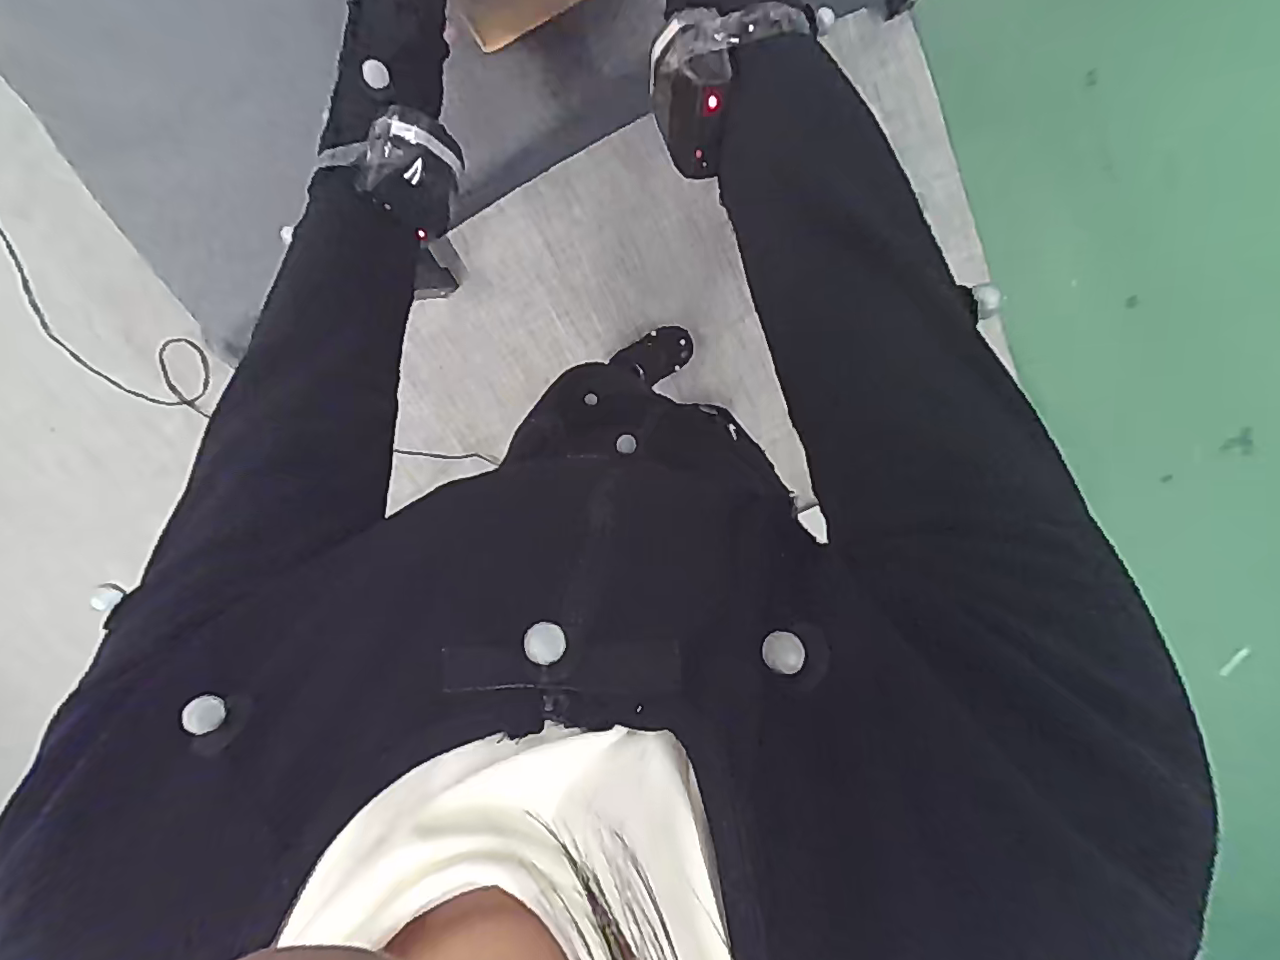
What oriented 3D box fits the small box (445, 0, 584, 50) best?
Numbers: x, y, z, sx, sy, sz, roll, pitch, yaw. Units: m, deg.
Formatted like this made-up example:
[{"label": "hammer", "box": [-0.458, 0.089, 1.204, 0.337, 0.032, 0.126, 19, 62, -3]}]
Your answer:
[{"label": "small box", "box": [-0.112, -0.490, 0.421, 0.179, 0.176, 0.168, -23, 107, 10]}]
